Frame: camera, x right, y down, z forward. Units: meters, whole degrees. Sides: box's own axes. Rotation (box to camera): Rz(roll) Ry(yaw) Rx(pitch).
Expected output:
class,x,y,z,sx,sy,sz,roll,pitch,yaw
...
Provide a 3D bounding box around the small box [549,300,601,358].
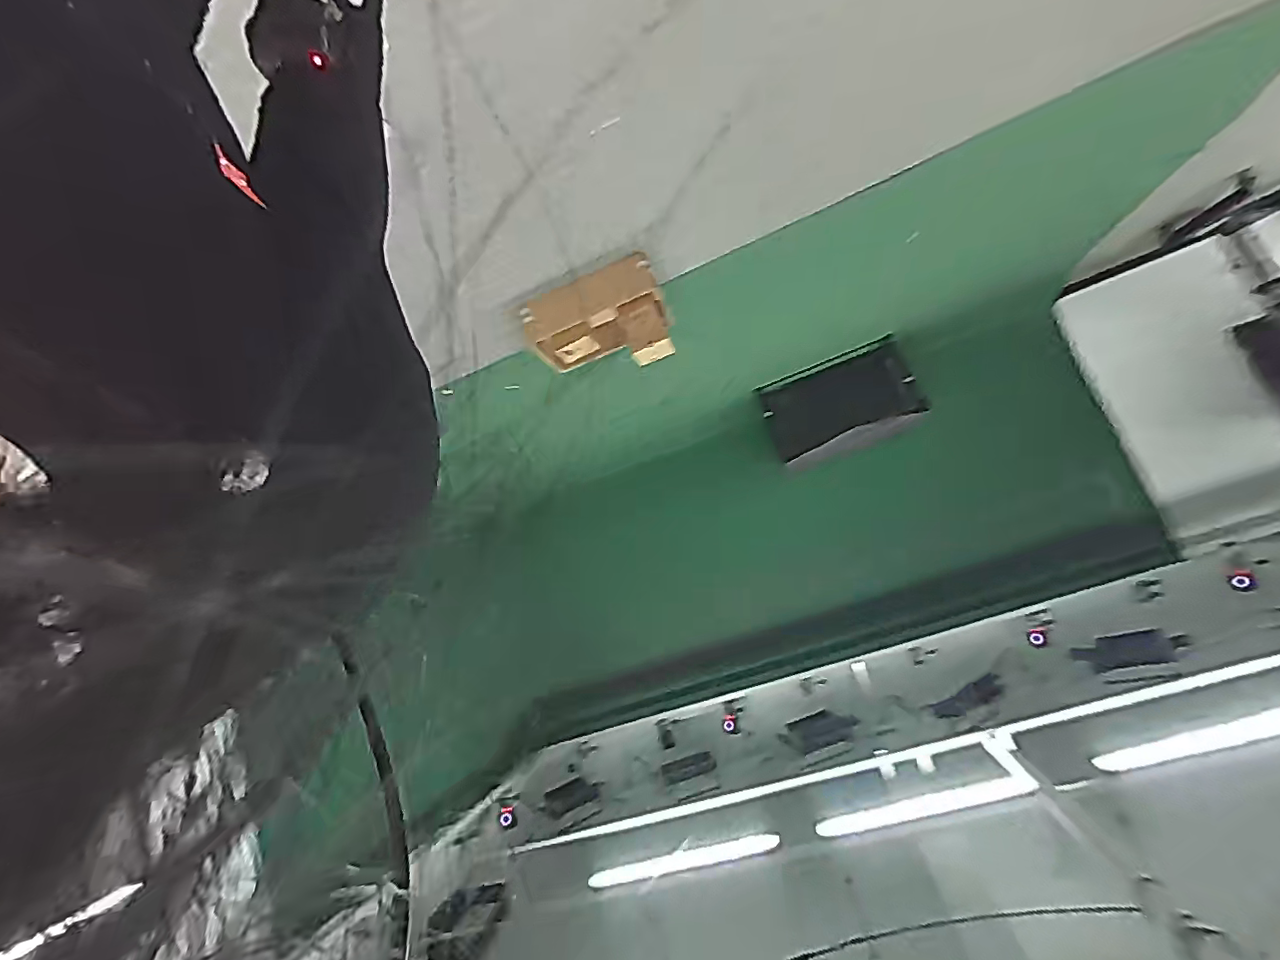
class,x,y,z,sx,sy,sz,roll,pitch,yaw
small box,-0.303,-0.695,2.499,0.179,0.176,0.168,-22,168,11

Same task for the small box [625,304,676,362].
class,x,y,z,sx,sy,sz,roll,pitch,yaw
small box,0.046,-0.658,2.404,0.168,0.176,0.179,-21,168,9
